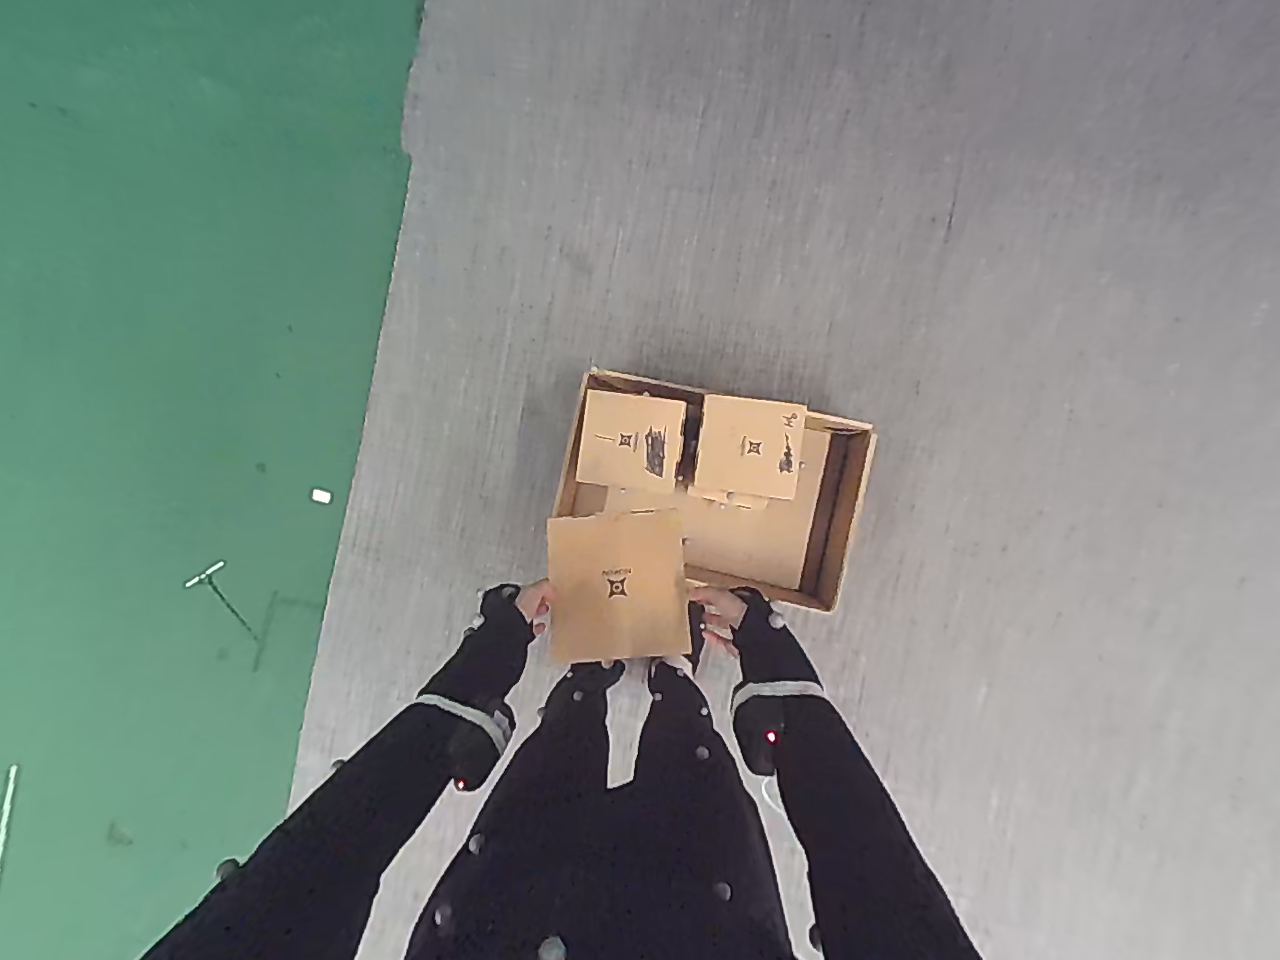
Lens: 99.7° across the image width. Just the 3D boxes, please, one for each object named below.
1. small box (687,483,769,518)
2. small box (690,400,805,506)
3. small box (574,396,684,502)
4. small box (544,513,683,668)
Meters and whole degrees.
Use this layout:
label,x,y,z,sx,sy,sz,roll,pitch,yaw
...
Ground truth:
label,x,y,z,sx,sy,sz,roll,pitch,yaw
small box,0.200,-0.024,1.161,0.168,0.176,0.179,12,91,8
small box,0.192,-0.044,0.997,0.179,0.176,0.168,8,89,8
small box,-0.013,-0.056,1.018,0.179,0.176,0.168,8,91,6
small box,-0.031,0.149,0.724,0.168,0.176,0.179,-4,75,0
